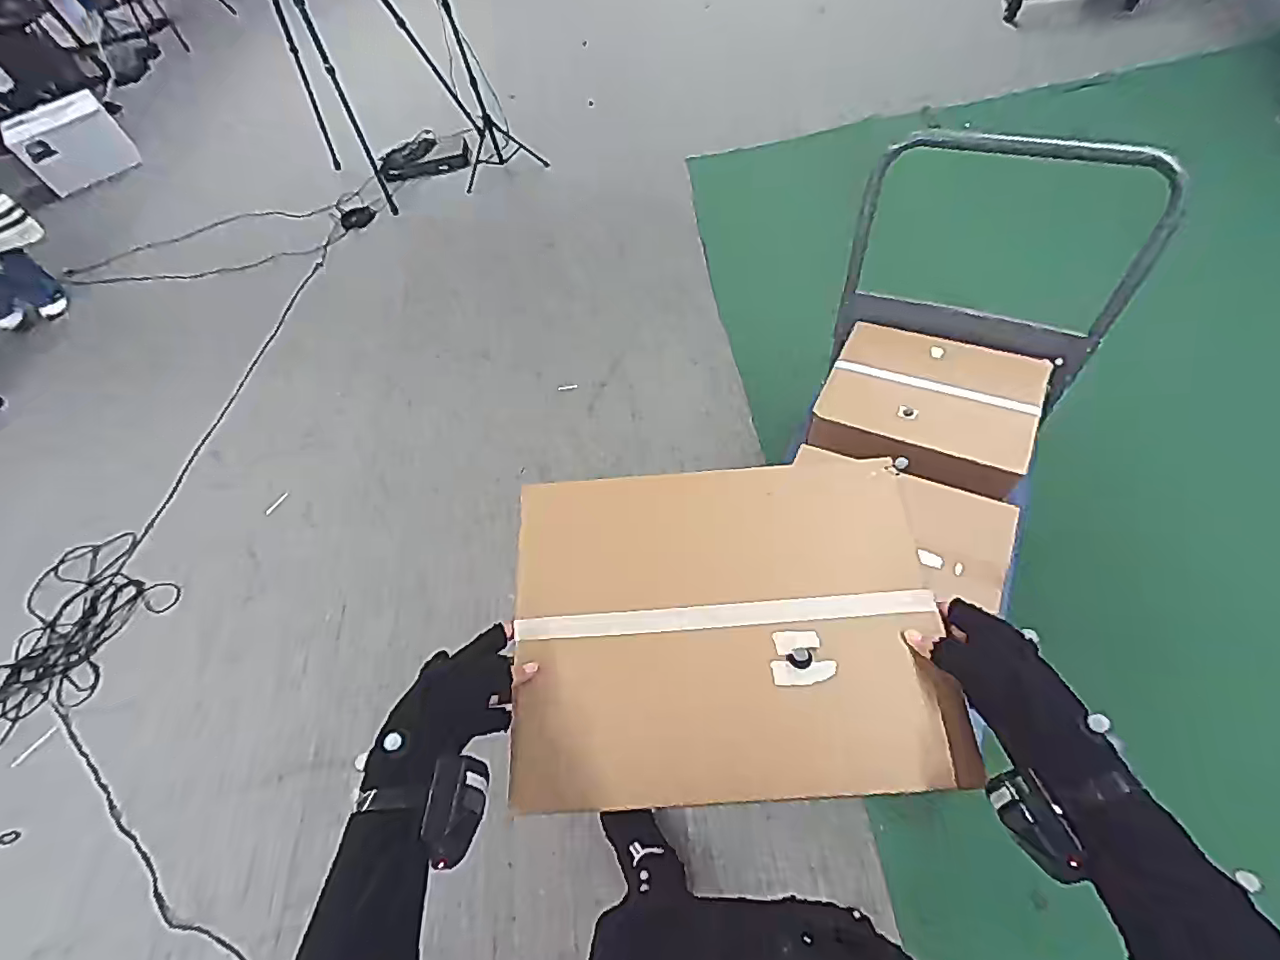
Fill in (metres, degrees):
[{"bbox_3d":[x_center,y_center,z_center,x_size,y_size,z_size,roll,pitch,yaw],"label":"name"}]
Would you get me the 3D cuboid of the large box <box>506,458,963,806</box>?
[{"bbox_3d":[0.076,0.195,0.661,0.408,0.320,0.320,-4,63,1],"label":"large box"}]
